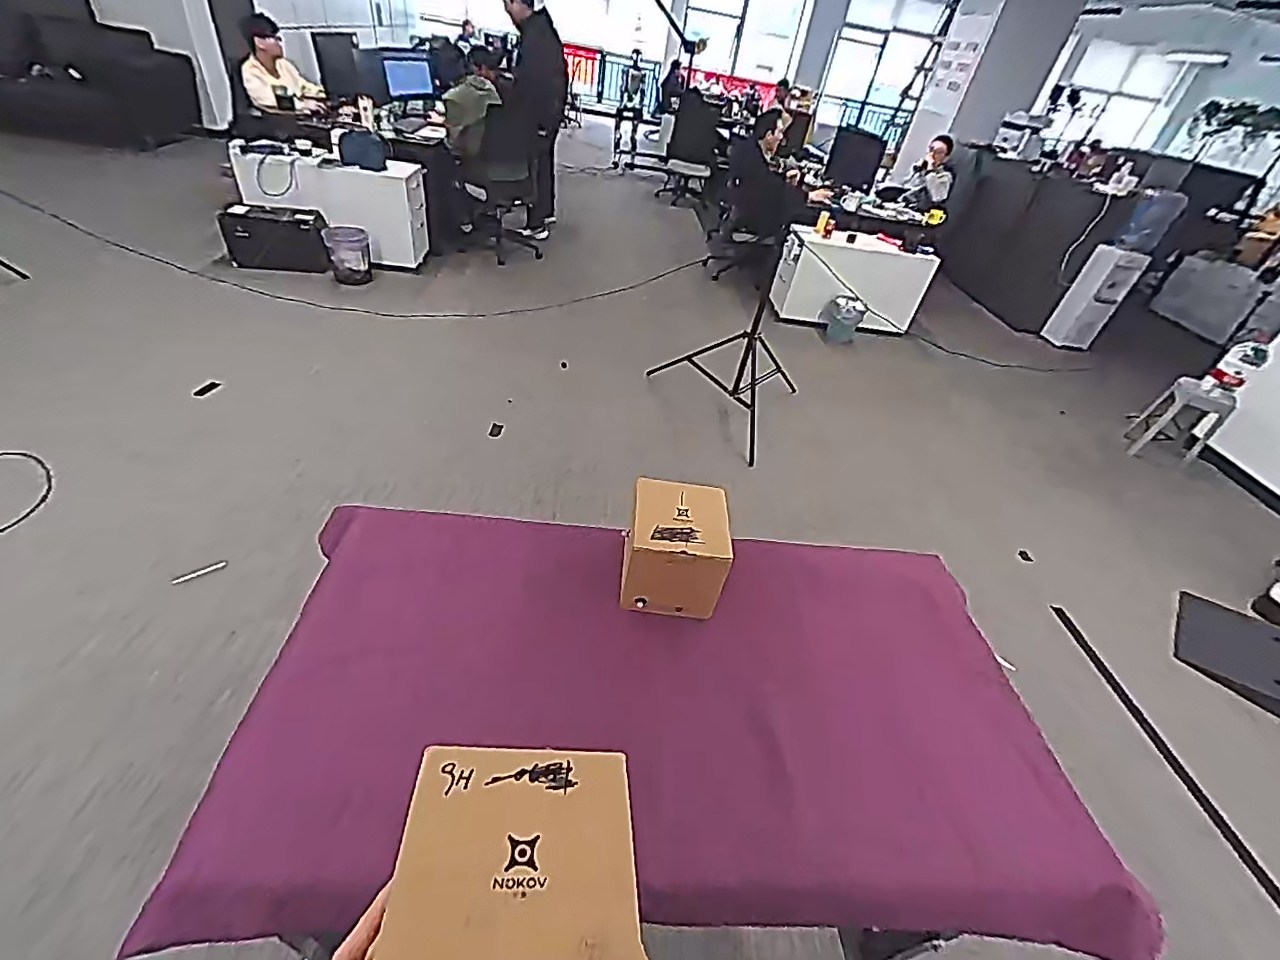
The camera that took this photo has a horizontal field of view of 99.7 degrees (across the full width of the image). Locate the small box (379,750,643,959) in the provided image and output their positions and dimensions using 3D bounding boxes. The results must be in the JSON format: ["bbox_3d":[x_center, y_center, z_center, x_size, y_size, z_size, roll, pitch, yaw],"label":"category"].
[{"bbox_3d":[-0.097,0.340,0.418,0.168,0.176,0.179,8,31,-11],"label":"small box"}]

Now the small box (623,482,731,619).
[{"bbox_3d":[0.062,0.131,0.984,0.168,0.176,0.179,8,40,-4],"label":"small box"}]
